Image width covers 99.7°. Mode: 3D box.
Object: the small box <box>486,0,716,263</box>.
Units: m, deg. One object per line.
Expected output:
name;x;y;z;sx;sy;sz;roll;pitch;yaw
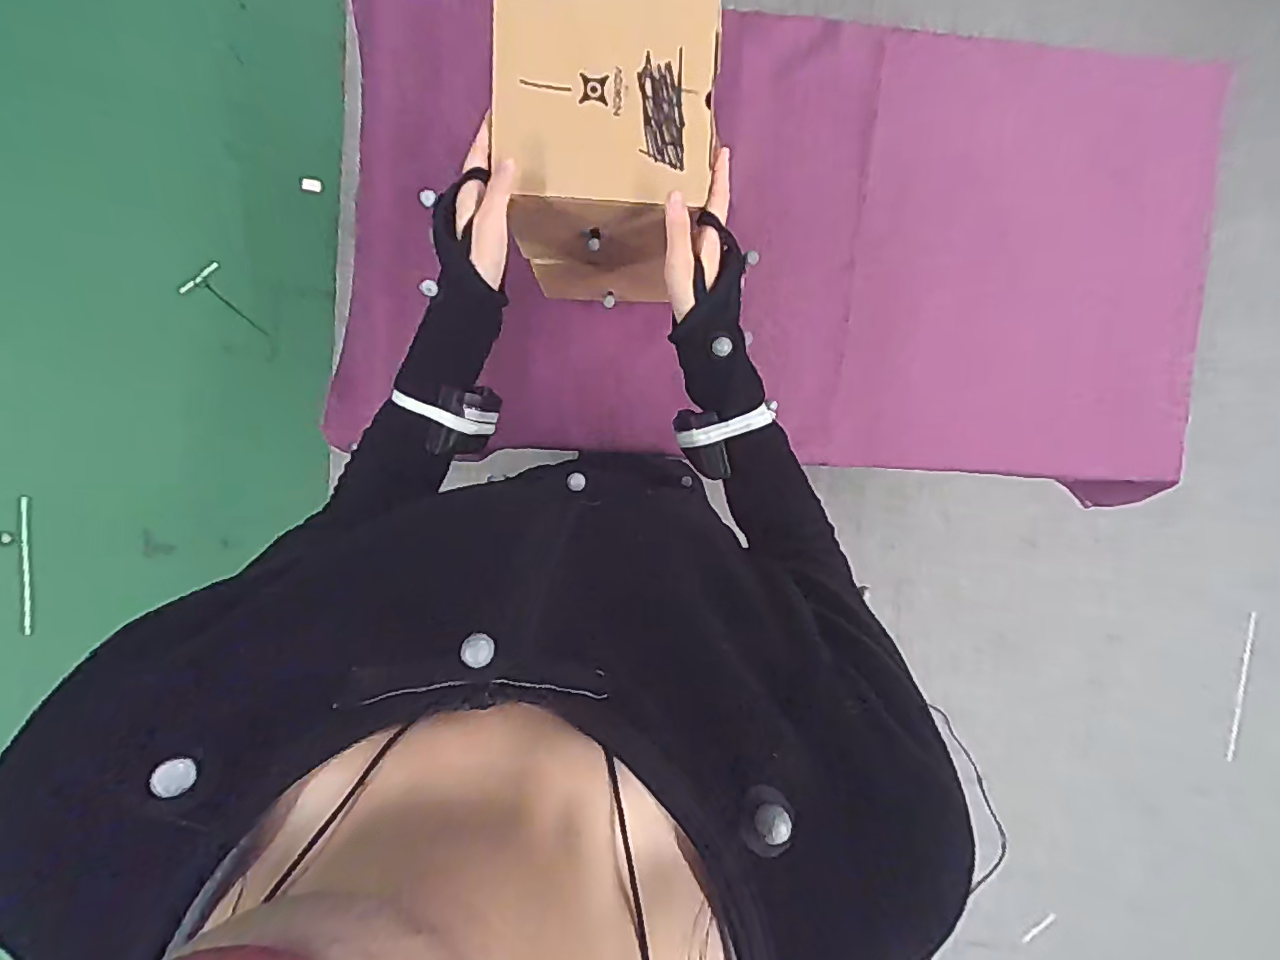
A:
small box;-0.035;-0.311;0.504;0.179;0.176;0.168;3;97;-2

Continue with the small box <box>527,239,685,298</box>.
small box;-0.041;-0.328;0.668;0.179;0.176;0.168;1;96;-3
